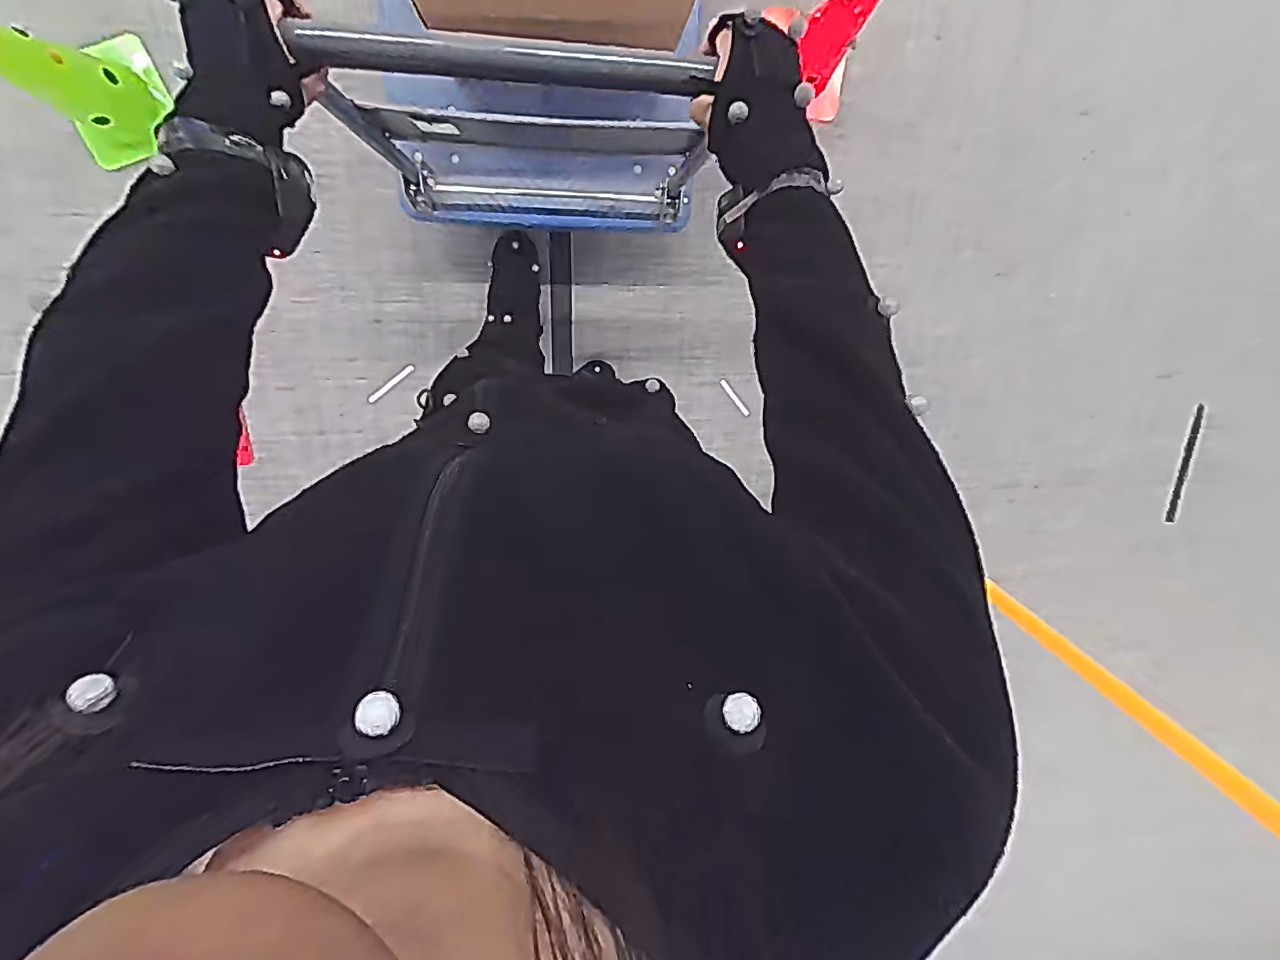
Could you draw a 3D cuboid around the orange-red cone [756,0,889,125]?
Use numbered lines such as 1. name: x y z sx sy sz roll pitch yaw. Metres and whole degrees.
1. orange-red cone: 0.386 -0.861 1.037 0.199 0.360 0.198 5 107 -9
